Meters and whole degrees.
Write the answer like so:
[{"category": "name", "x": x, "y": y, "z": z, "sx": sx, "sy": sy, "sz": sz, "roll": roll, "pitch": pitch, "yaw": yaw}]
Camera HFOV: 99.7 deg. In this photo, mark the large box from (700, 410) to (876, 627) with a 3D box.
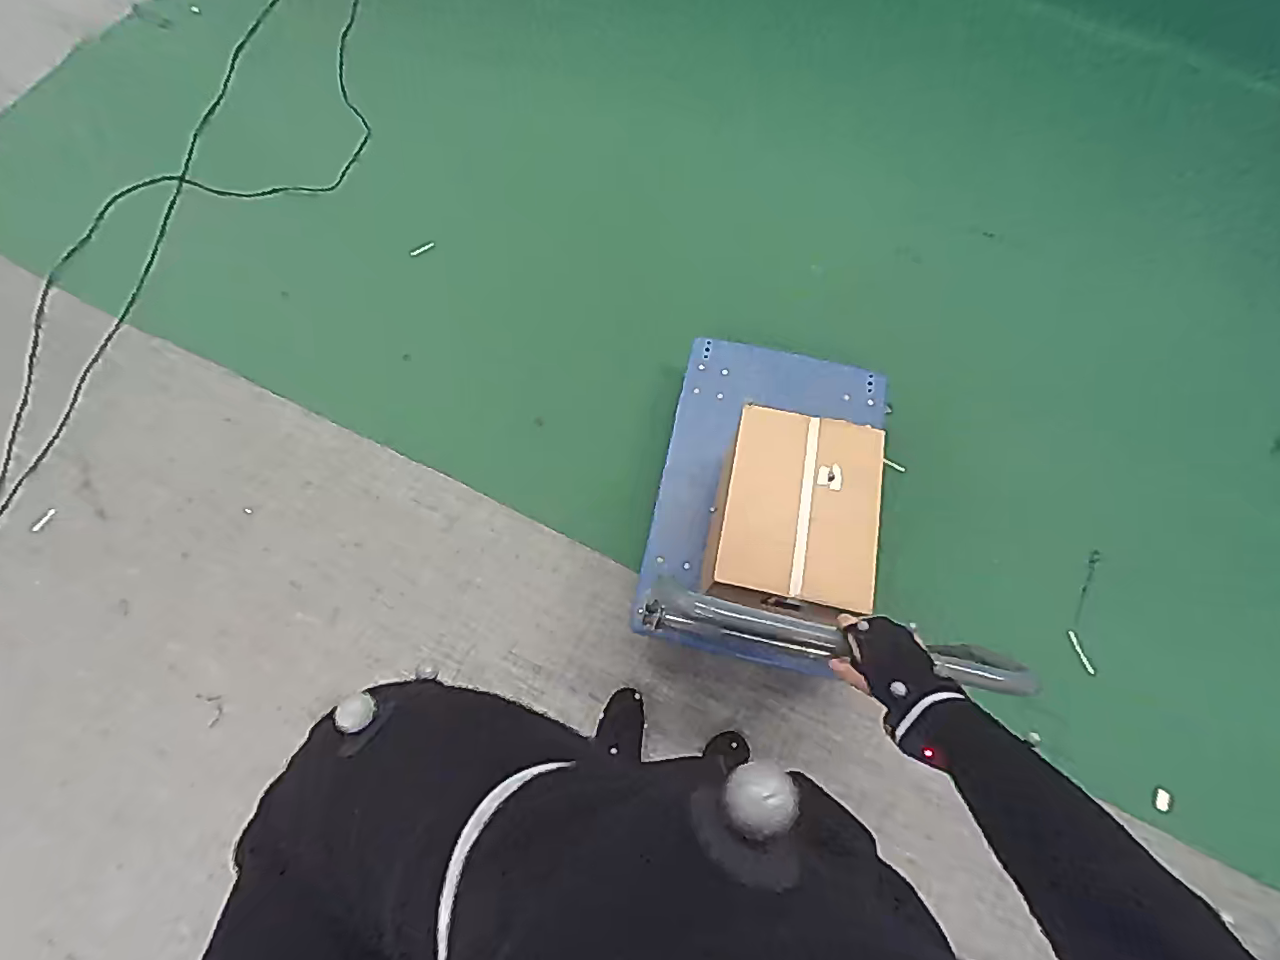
[{"category": "large box", "x": 0.331, "y": 0.104, "z": 1.268, "sx": 0.320, "sy": 0.320, "sz": 0.408, "roll": 12, "pitch": 69, "yaw": 3}]
